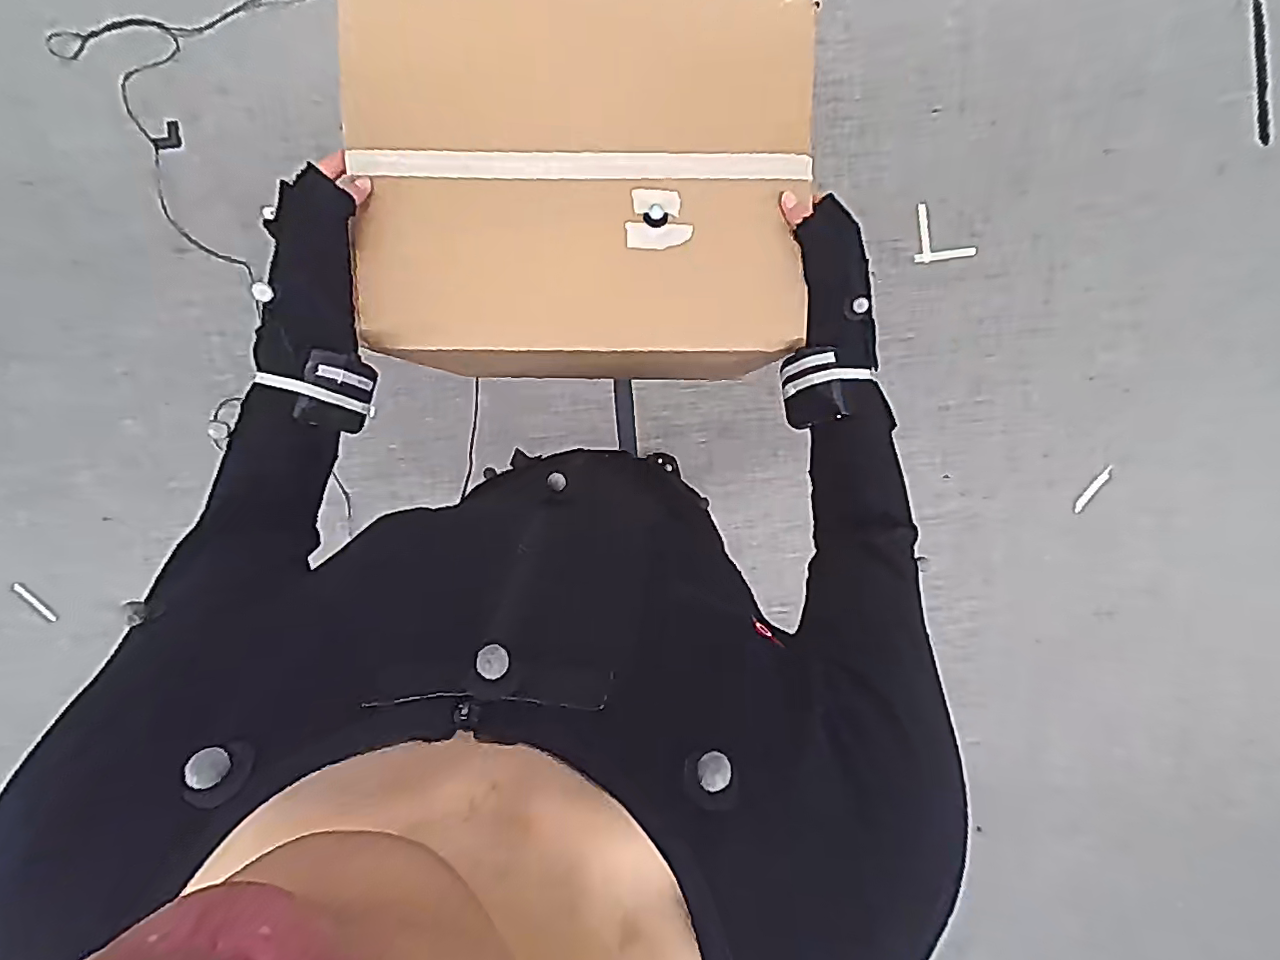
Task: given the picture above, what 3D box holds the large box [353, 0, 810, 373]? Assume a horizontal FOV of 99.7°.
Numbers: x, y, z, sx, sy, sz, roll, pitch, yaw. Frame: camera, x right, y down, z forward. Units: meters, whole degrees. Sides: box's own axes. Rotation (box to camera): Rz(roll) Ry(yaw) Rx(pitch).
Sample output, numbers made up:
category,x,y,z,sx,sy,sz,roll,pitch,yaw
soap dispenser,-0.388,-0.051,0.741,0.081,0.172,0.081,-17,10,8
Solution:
category,x,y,z,sx,sy,sz,roll,pitch,yaw
large box,-0.053,-0.298,0.629,0.408,0.320,0.320,0,96,-2
